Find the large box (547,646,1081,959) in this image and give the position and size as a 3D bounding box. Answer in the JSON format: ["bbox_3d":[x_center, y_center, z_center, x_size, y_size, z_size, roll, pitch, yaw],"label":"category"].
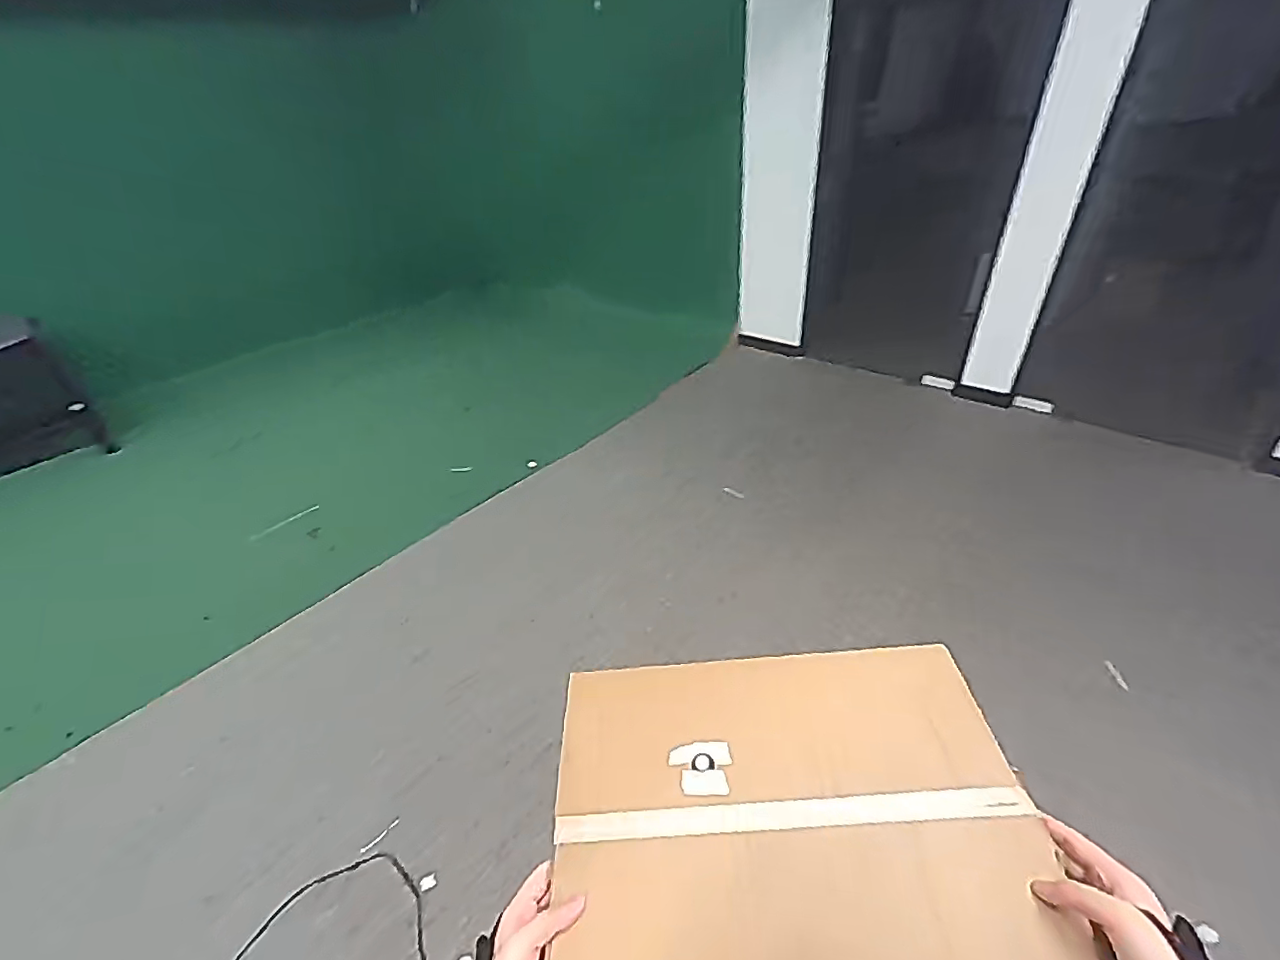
[{"bbox_3d":[0.142,0.415,0.575,0.408,0.320,0.320,-8,40,4],"label":"large box"}]
